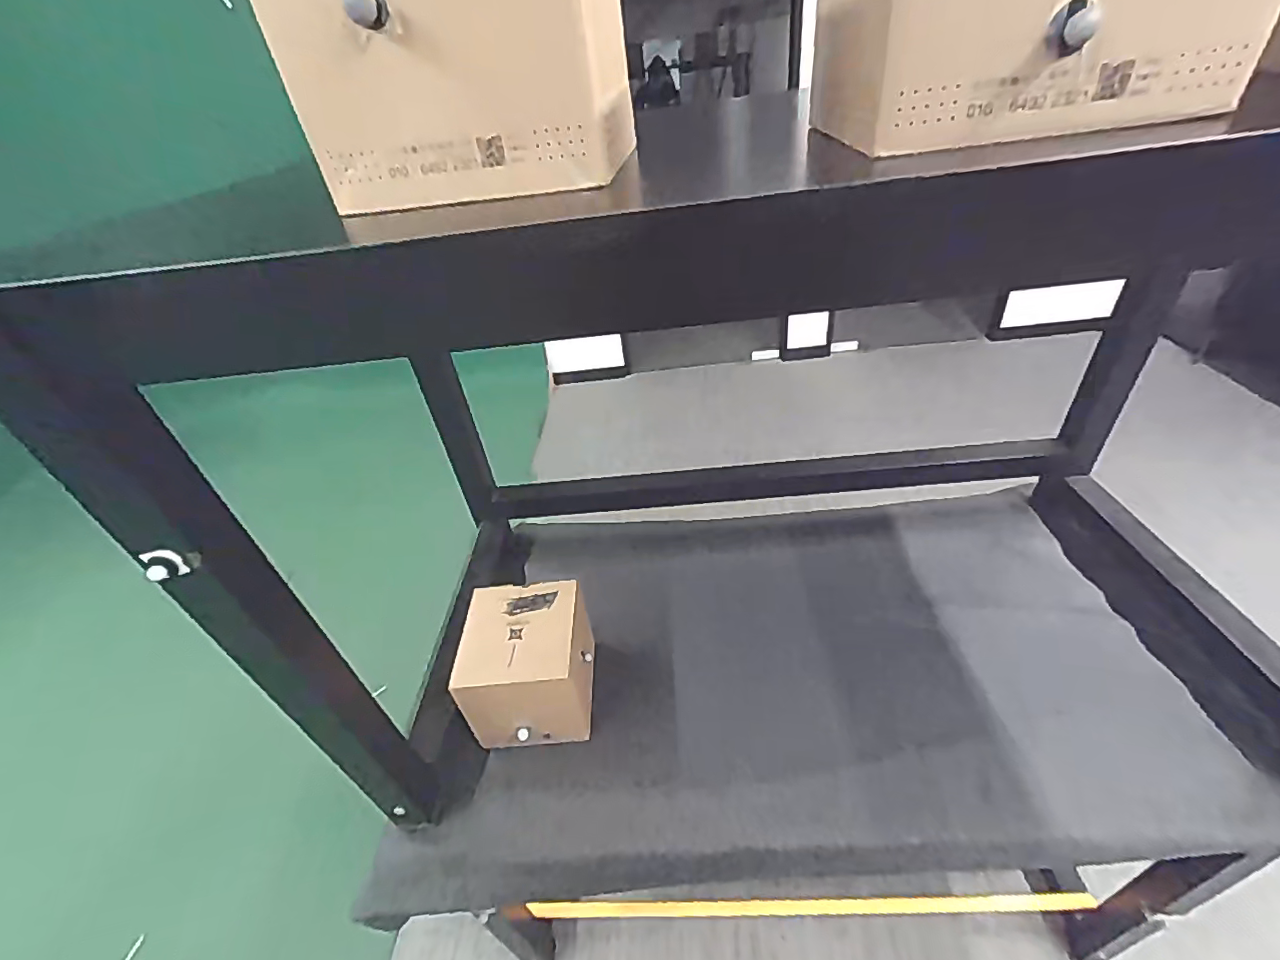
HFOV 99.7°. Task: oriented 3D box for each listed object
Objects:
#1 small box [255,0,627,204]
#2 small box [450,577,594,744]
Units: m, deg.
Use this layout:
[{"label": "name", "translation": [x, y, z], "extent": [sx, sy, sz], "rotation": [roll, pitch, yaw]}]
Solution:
[{"label": "small box", "translation": [-0.105, -0.280, 0.334], "extent": [0.168, 0.176, 0.179], "rotation": [-2, 37, 8]}, {"label": "small box", "translation": [-0.166, 0.274, 0.828], "extent": [0.168, 0.176, 0.179], "rotation": [-6, 37, 3]}]
